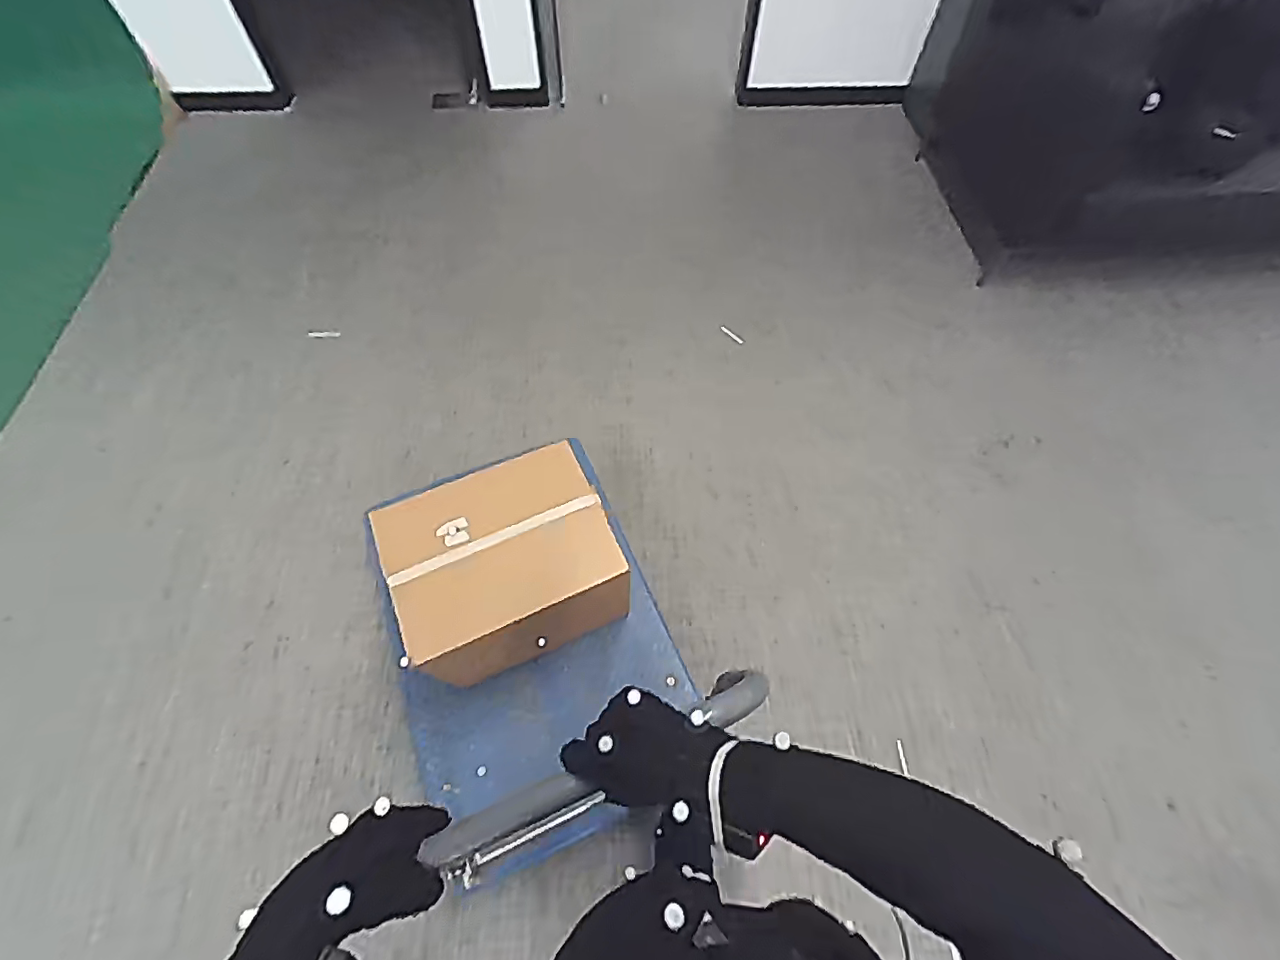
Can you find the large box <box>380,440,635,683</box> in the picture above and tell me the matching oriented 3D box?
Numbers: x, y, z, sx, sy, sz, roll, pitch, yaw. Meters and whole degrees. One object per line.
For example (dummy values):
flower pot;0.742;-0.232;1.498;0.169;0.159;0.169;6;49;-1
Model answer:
large box;-0.255;0.180;1.144;0.408;0.320;0.320;-23;65;-12
